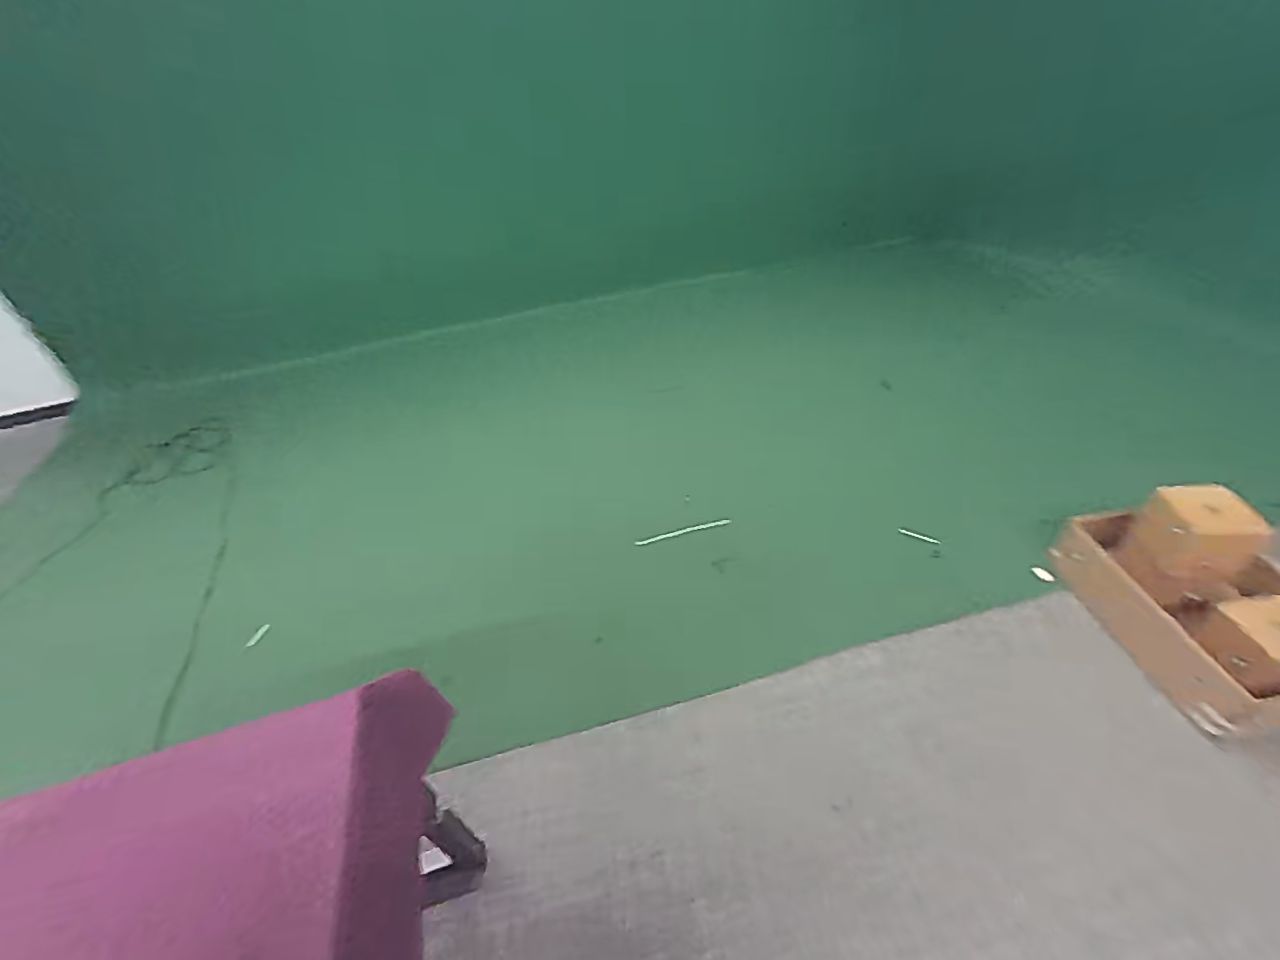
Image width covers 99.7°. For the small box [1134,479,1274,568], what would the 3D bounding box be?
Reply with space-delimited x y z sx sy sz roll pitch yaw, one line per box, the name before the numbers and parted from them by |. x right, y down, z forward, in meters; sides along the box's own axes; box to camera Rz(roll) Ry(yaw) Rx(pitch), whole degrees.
small box | 1.499 0.118 1.455 0.168 0.176 0.179 -3 42 8
